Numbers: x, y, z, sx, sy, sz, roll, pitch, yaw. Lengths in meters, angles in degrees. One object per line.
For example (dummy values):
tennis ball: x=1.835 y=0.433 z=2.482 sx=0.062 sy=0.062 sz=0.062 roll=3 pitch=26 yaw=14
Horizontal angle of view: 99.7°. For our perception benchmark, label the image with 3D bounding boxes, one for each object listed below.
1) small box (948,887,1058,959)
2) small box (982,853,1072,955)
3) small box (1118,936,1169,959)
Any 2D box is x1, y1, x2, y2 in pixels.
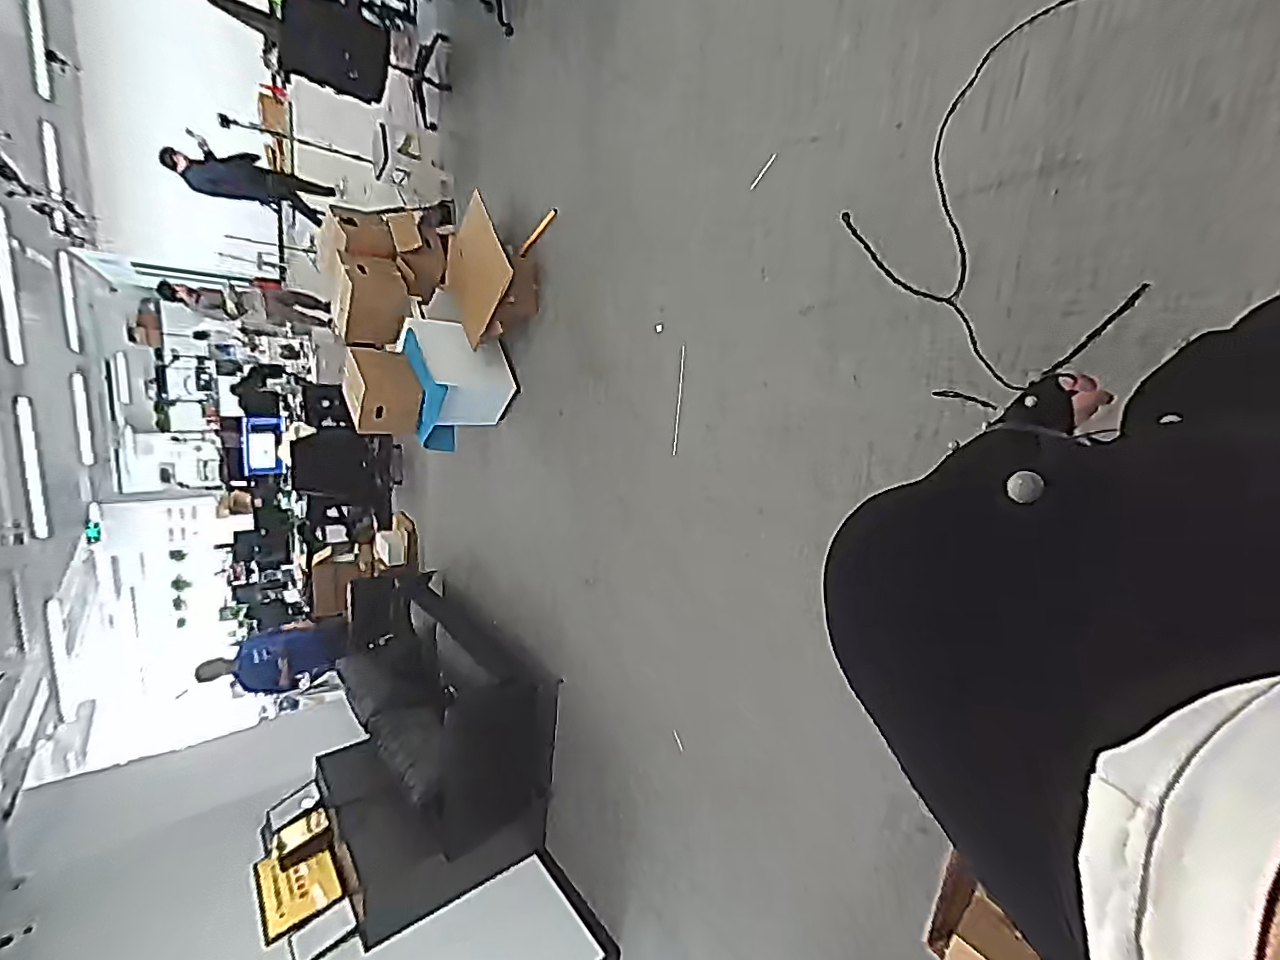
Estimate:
small box: x=0.850 y=1.126 z=1.272 sx=0.168 sy=0.176 sz=0.179 roll=21 pitch=110 yaw=45
small box: x=0.972 y=1.110 z=1.379 sx=0.168 sy=0.176 sz=0.179 roll=19 pitch=108 yaw=47
small box: x=1.139 y=1.173 z=1.186 sx=0.168 sy=0.176 sz=0.179 roll=19 pitch=108 yaw=49
